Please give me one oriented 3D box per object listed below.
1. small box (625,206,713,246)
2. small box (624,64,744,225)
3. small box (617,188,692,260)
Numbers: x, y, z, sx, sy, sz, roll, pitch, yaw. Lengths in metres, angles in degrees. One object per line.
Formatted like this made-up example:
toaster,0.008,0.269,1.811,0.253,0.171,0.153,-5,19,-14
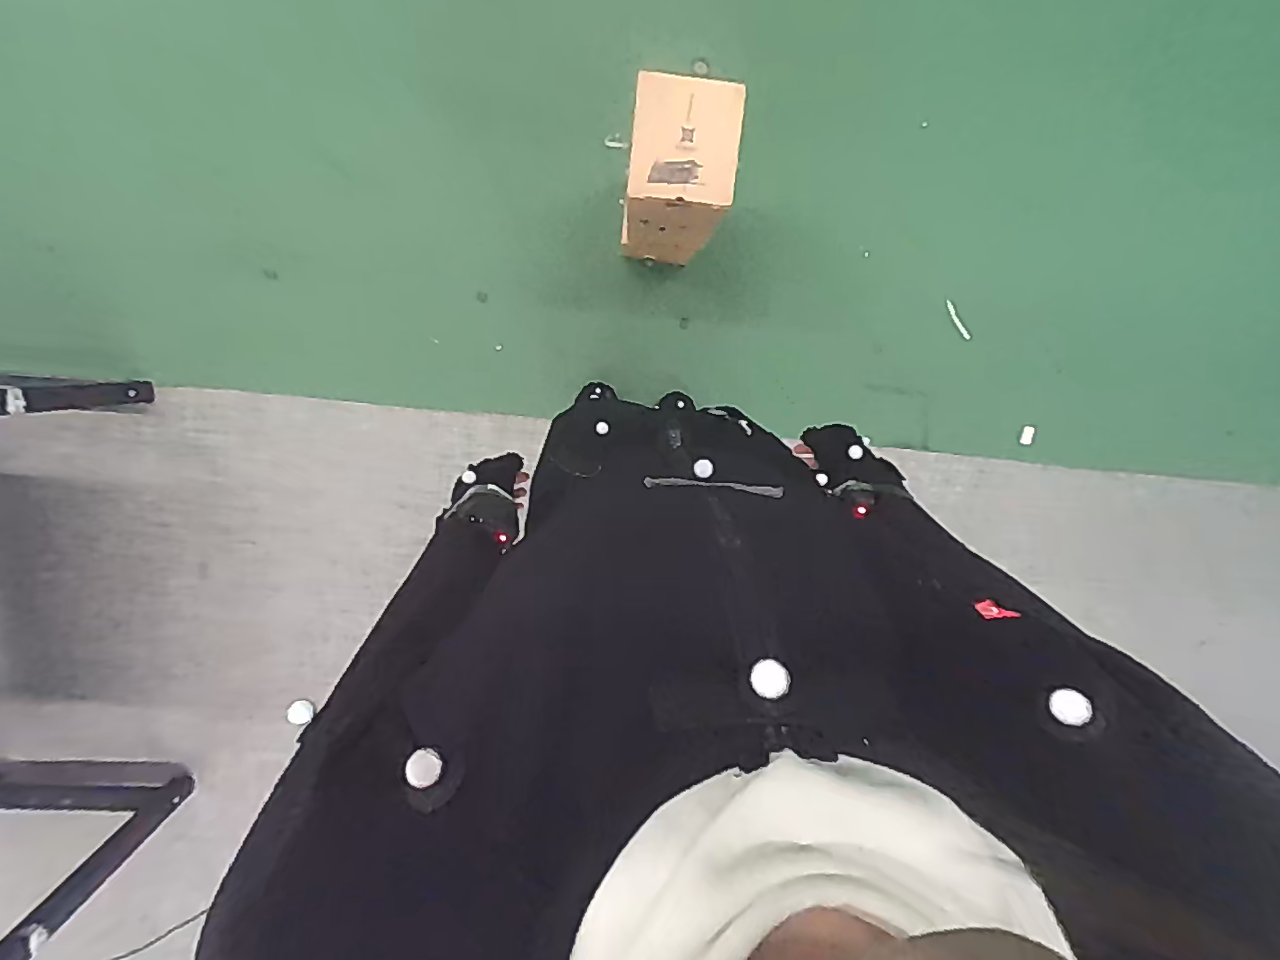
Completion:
small box,0.059,-0.577,1.058,0.168,0.176,0.179,6,102,-3
small box,0.063,-0.540,0.898,0.168,0.176,0.179,5,102,-4
small box,0.042,-0.605,1.200,0.168,0.176,0.179,9,103,-3
